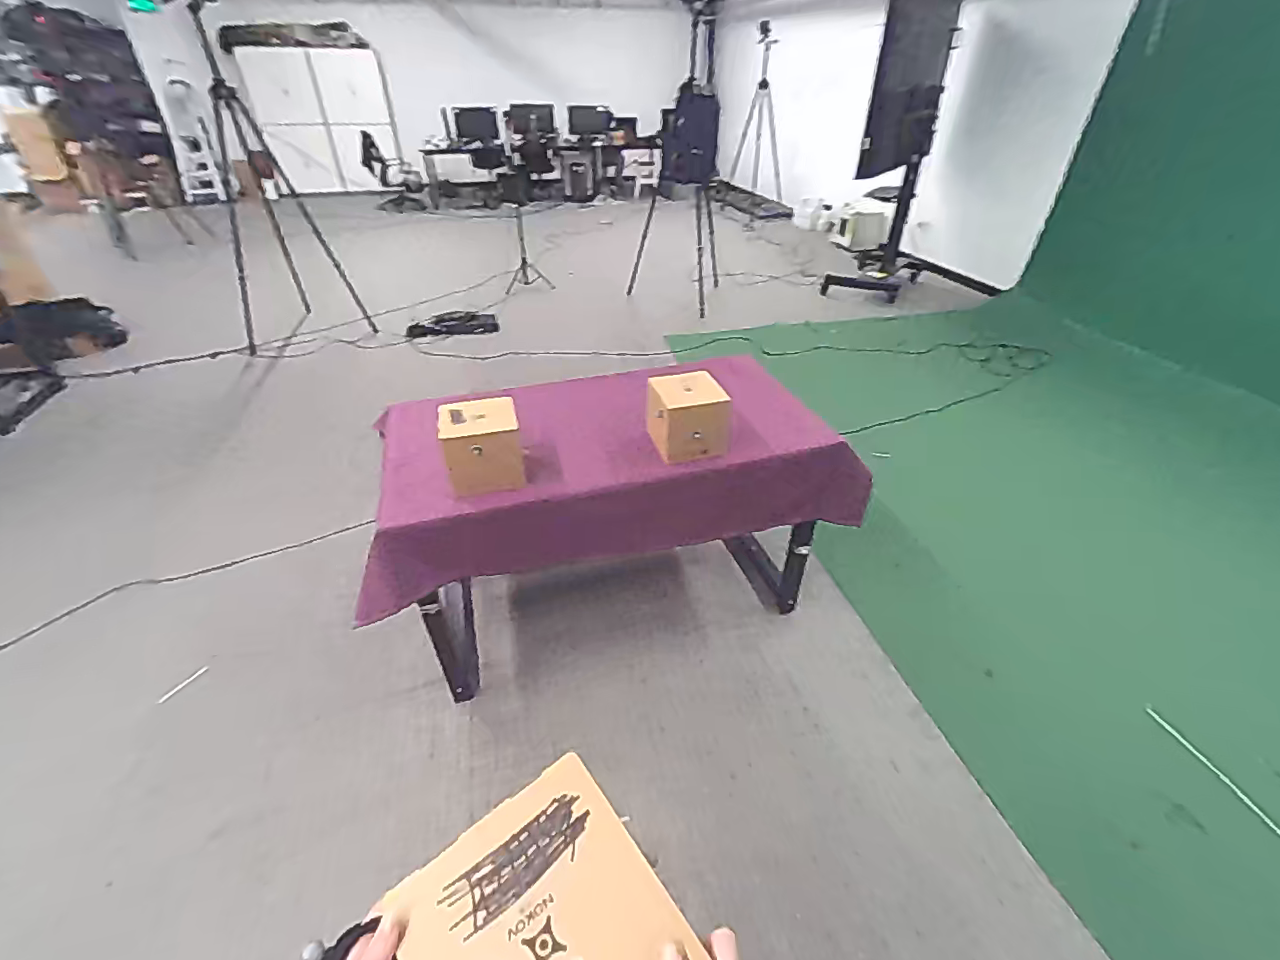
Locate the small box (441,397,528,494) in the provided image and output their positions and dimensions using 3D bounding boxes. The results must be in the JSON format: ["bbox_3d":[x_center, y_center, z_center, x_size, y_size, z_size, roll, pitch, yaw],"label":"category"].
[{"bbox_3d":[-0.377,-0.082,1.322,0.179,0.176,0.168,-9,38,-13],"label":"small box"}]

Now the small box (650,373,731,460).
[{"bbox_3d":[0.128,-0.163,1.433,0.168,0.176,0.179,-9,37,-12],"label":"small box"}]
